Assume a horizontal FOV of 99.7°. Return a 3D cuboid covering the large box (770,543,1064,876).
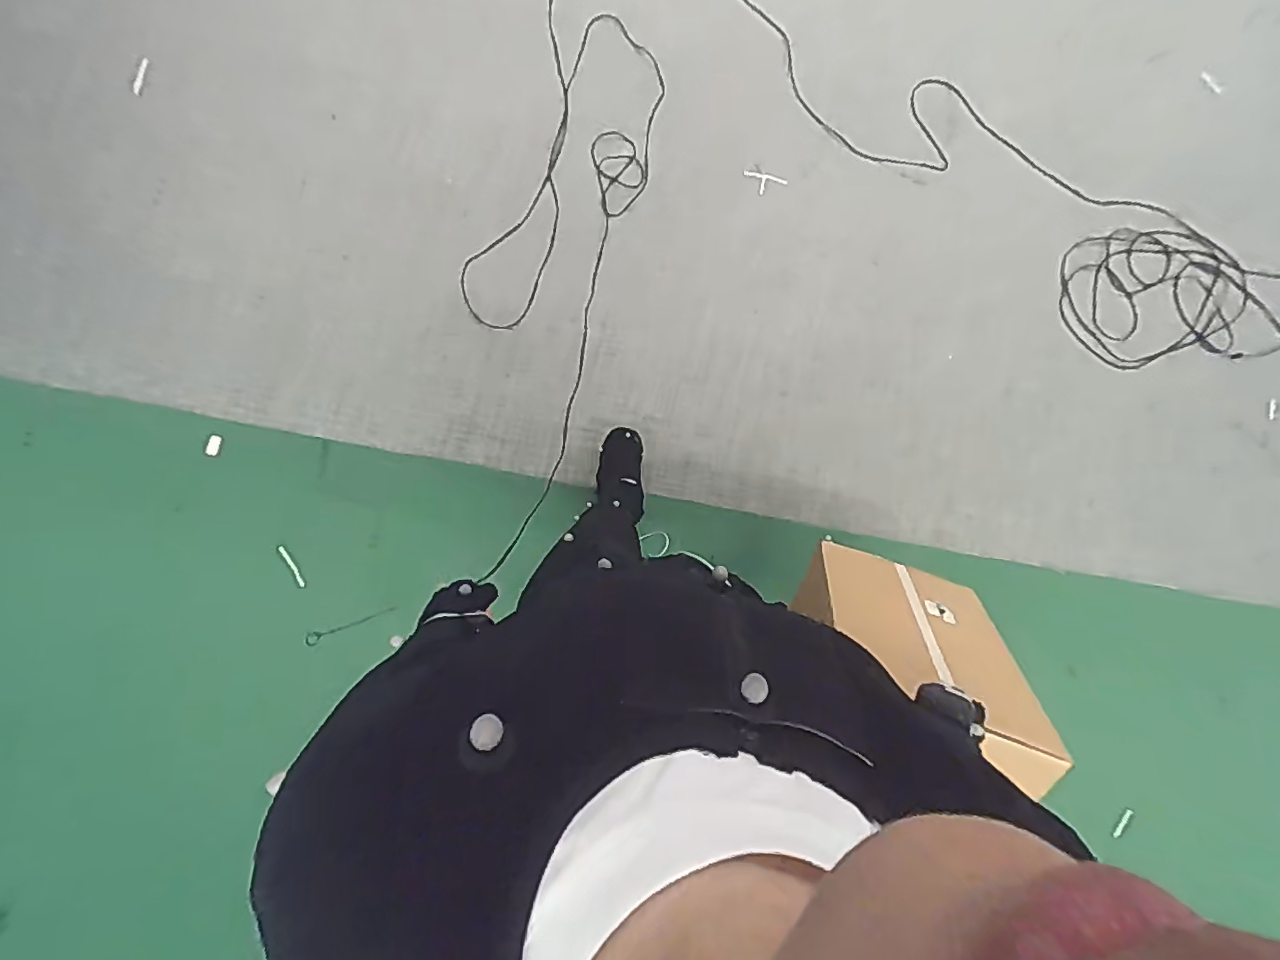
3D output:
[{"bbox_3d":[0.431,0.380,0.975,0.320,0.408,0.320,19,115,6],"label":"large box"}]
